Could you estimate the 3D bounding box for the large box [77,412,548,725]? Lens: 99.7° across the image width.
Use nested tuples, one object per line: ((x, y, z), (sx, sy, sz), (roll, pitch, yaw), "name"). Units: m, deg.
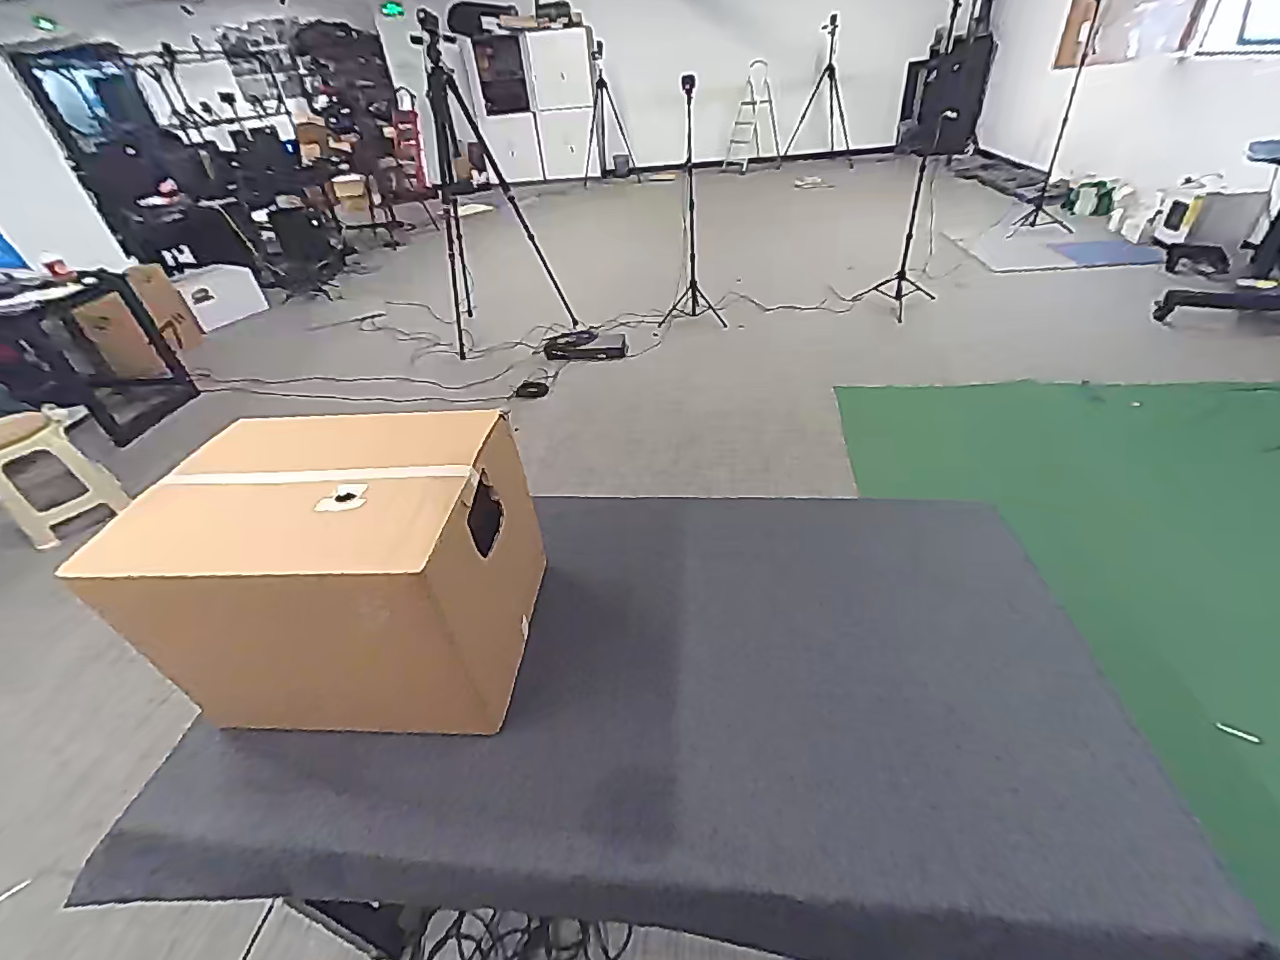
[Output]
((-0.373, 0.118, 0.752), (0.408, 0.320, 0.320), (-1, 38, 4), "large box")
